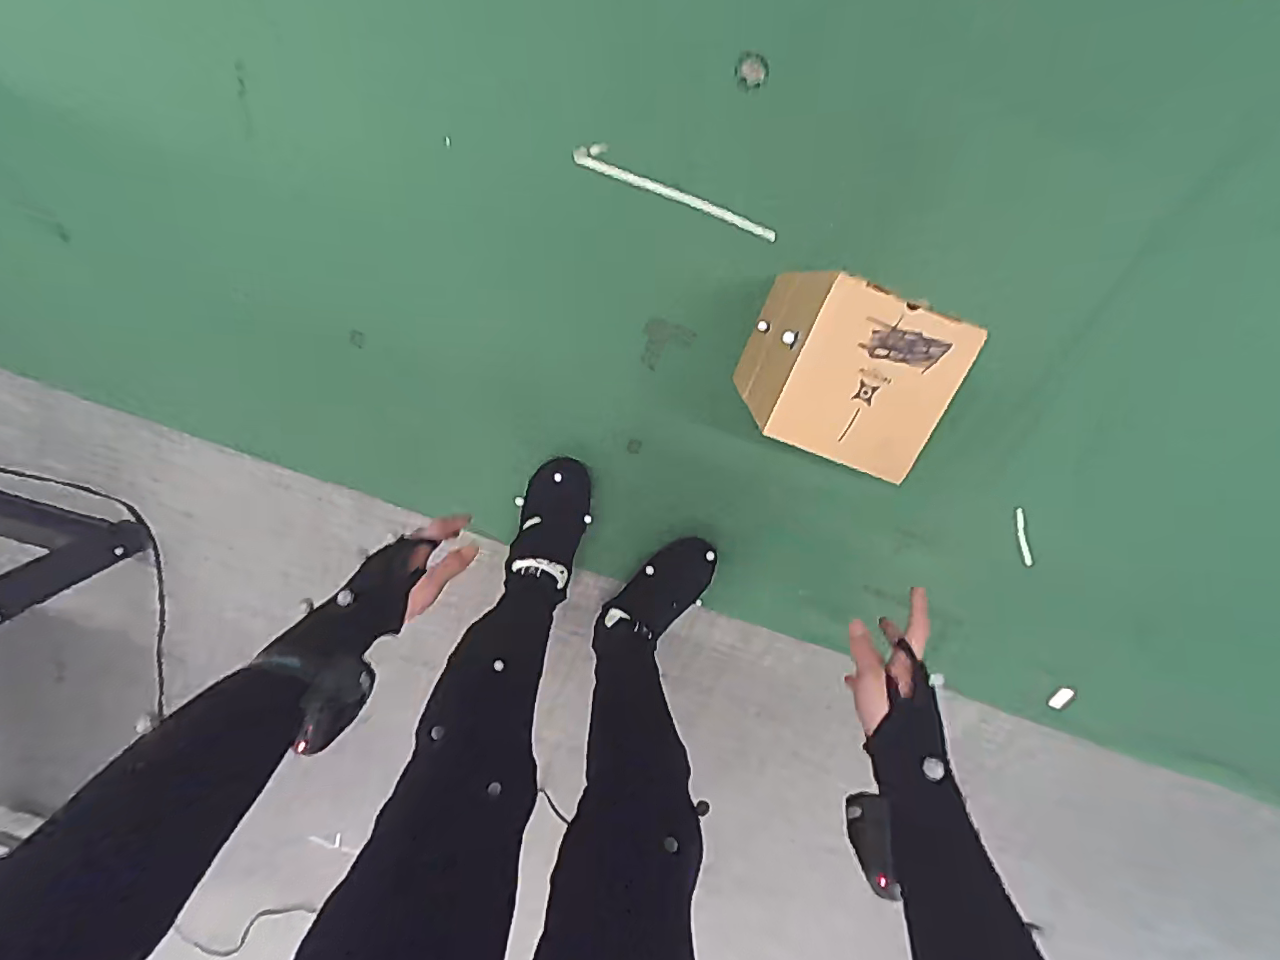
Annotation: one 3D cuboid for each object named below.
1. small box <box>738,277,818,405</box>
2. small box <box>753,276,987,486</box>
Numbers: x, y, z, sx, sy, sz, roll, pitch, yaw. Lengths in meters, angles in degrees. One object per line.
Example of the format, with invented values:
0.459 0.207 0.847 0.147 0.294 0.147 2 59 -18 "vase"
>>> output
0.254 -0.180 0.791 0.168 0.176 0.179 21 110 -4 "small box"
0.247 -0.124 0.637 0.168 0.176 0.179 21 110 -4 "small box"
